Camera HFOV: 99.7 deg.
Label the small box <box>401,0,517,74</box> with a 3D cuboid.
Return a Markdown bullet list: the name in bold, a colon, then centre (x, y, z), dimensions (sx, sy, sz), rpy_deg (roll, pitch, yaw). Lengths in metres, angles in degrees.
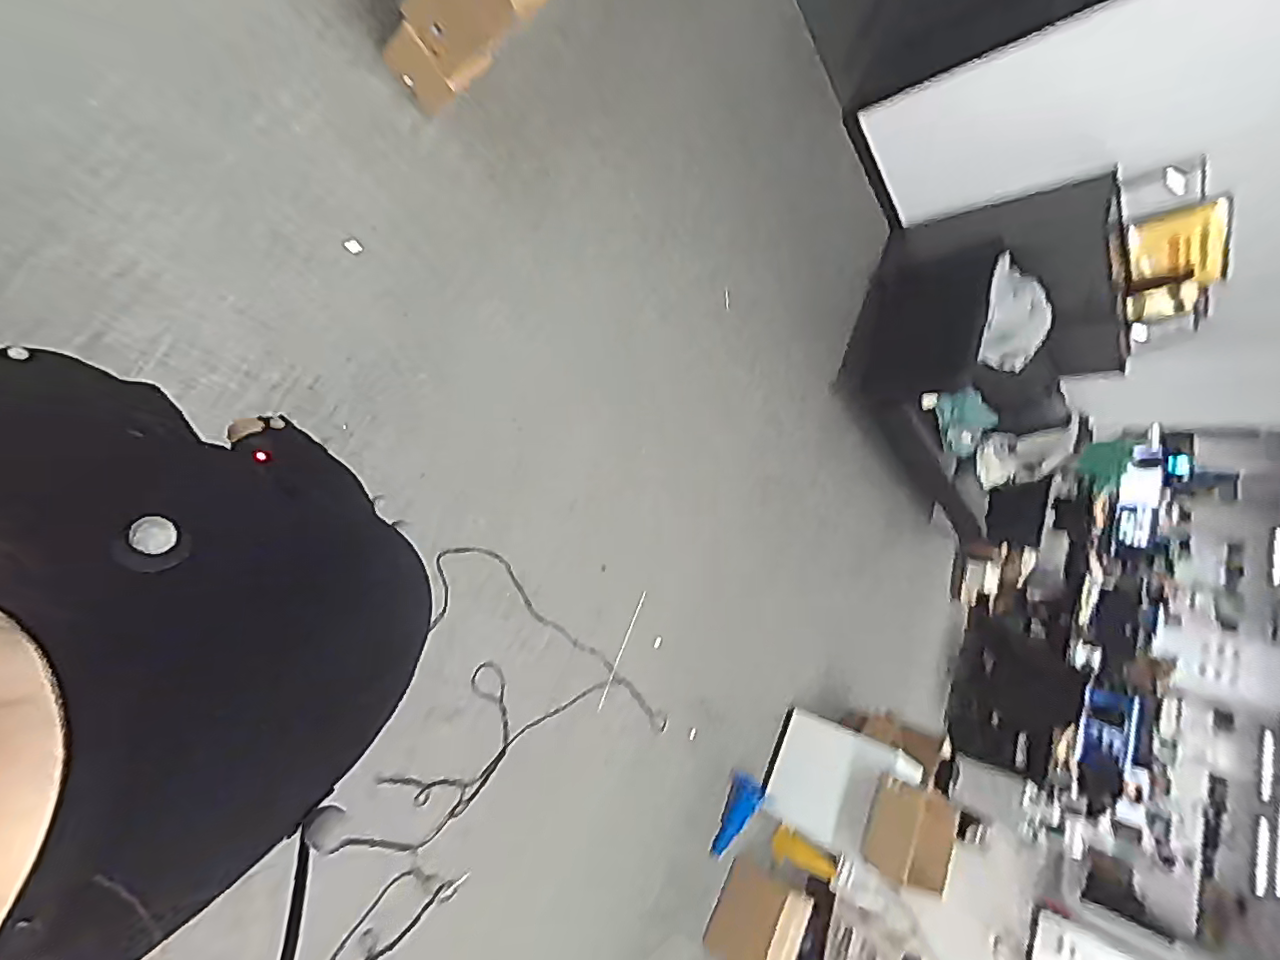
- **small box**: centre (-0.431, -1.106, 1.268), dimensions (0.179, 0.176, 0.168), rpy_deg (-55, 127, -25)

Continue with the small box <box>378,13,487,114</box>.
- **small box**: centre (-0.538, -1.097, 1.393), dimensions (0.168, 0.176, 0.179), rpy_deg (49, 62, -35)
